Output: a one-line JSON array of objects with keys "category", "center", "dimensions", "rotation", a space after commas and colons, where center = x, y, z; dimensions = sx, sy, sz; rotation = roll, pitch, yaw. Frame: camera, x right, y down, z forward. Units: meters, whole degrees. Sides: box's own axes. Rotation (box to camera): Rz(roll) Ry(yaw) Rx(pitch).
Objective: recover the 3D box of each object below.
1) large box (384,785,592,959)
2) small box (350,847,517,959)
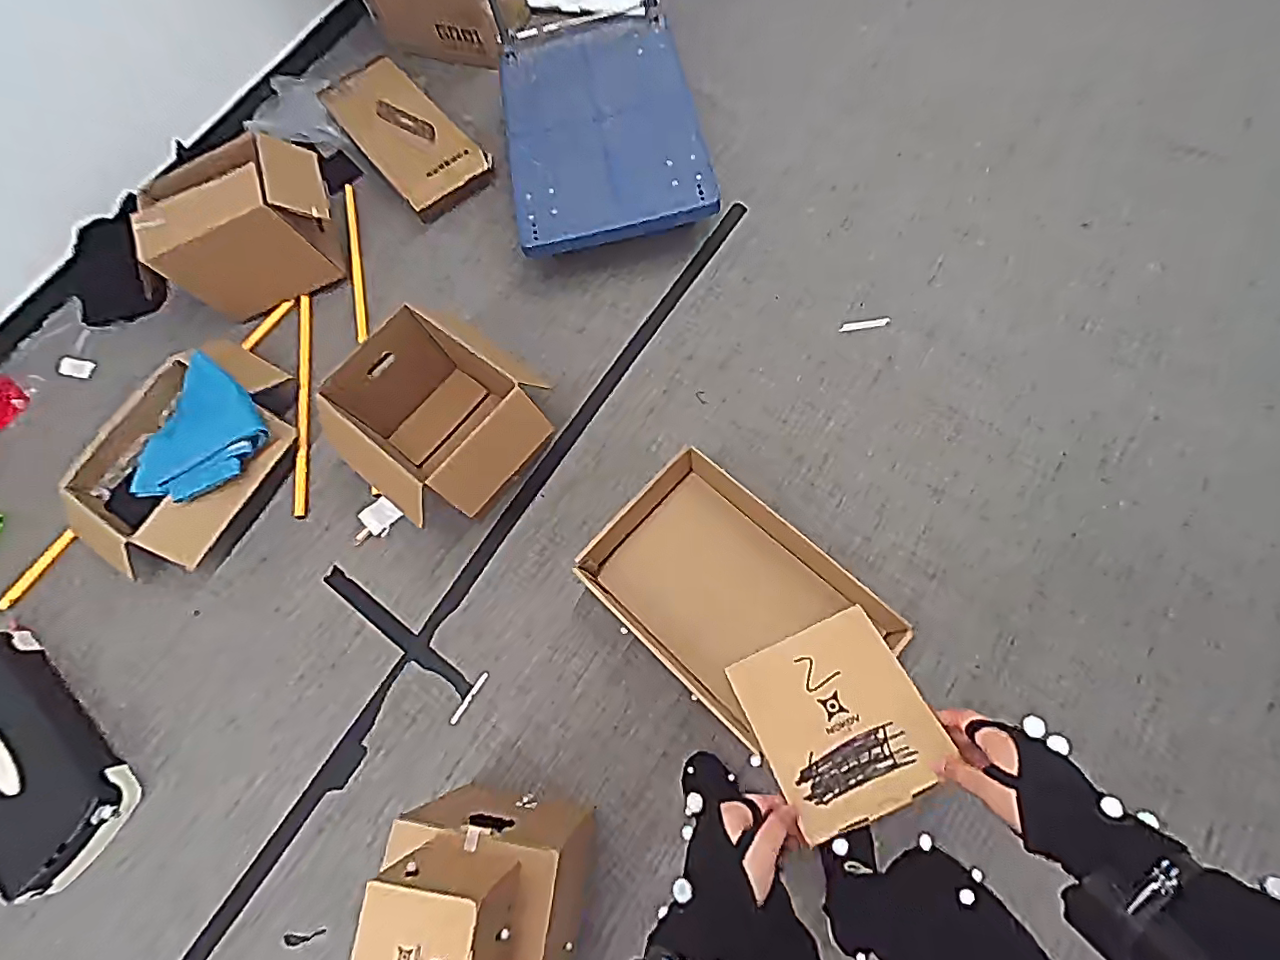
[{"category": "large box", "center": [-0.290, 0.847, 1.020], "dimensions": [0.320, 0.320, 0.408], "rotation": [4, 73, 10]}, {"category": "small box", "center": [-0.306, 0.682, 0.817], "dimensions": [0.179, 0.176, 0.168], "rotation": [4, 73, 8]}]
